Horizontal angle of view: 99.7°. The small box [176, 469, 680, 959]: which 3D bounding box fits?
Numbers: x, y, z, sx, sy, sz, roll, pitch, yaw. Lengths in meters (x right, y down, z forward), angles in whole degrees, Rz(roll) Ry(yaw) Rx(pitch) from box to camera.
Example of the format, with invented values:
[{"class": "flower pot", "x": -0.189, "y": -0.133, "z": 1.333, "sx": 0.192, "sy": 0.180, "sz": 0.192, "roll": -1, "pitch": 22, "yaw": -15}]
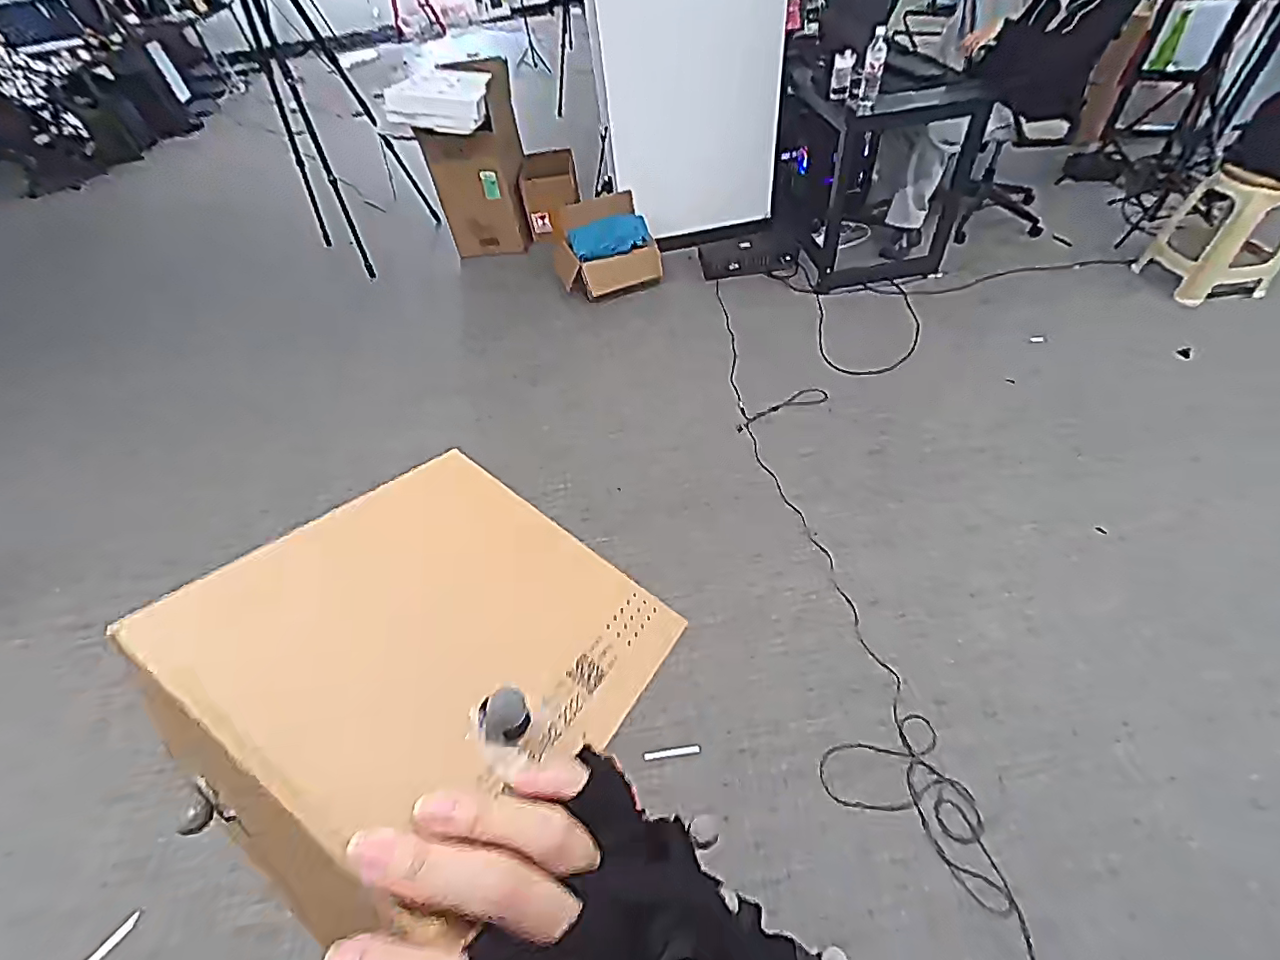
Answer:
[{"class": "small box", "x": -0.105, "y": 0.132, "z": 0.306, "sx": 0.176, "sy": 0.179, "sz": 0.168, "roll": 35, "pitch": 38, "yaw": 11}]
